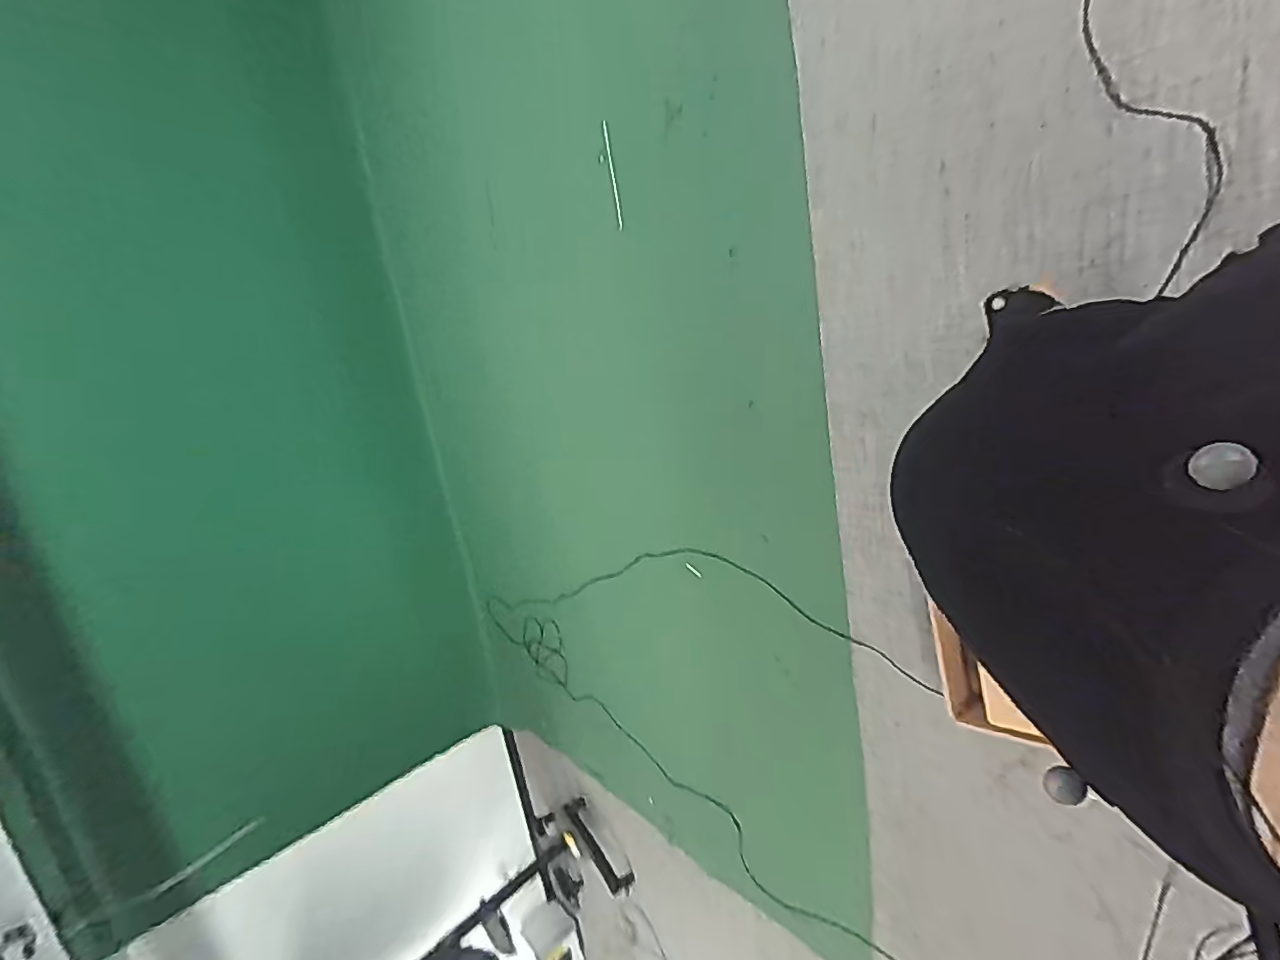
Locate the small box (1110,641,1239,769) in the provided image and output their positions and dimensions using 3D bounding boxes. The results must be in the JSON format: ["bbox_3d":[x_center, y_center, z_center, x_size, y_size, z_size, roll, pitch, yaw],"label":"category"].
[{"bbox_3d":[1.116,0.455,1.127,0.179,0.176,0.168,-3,101,51],"label":"small box"}]
